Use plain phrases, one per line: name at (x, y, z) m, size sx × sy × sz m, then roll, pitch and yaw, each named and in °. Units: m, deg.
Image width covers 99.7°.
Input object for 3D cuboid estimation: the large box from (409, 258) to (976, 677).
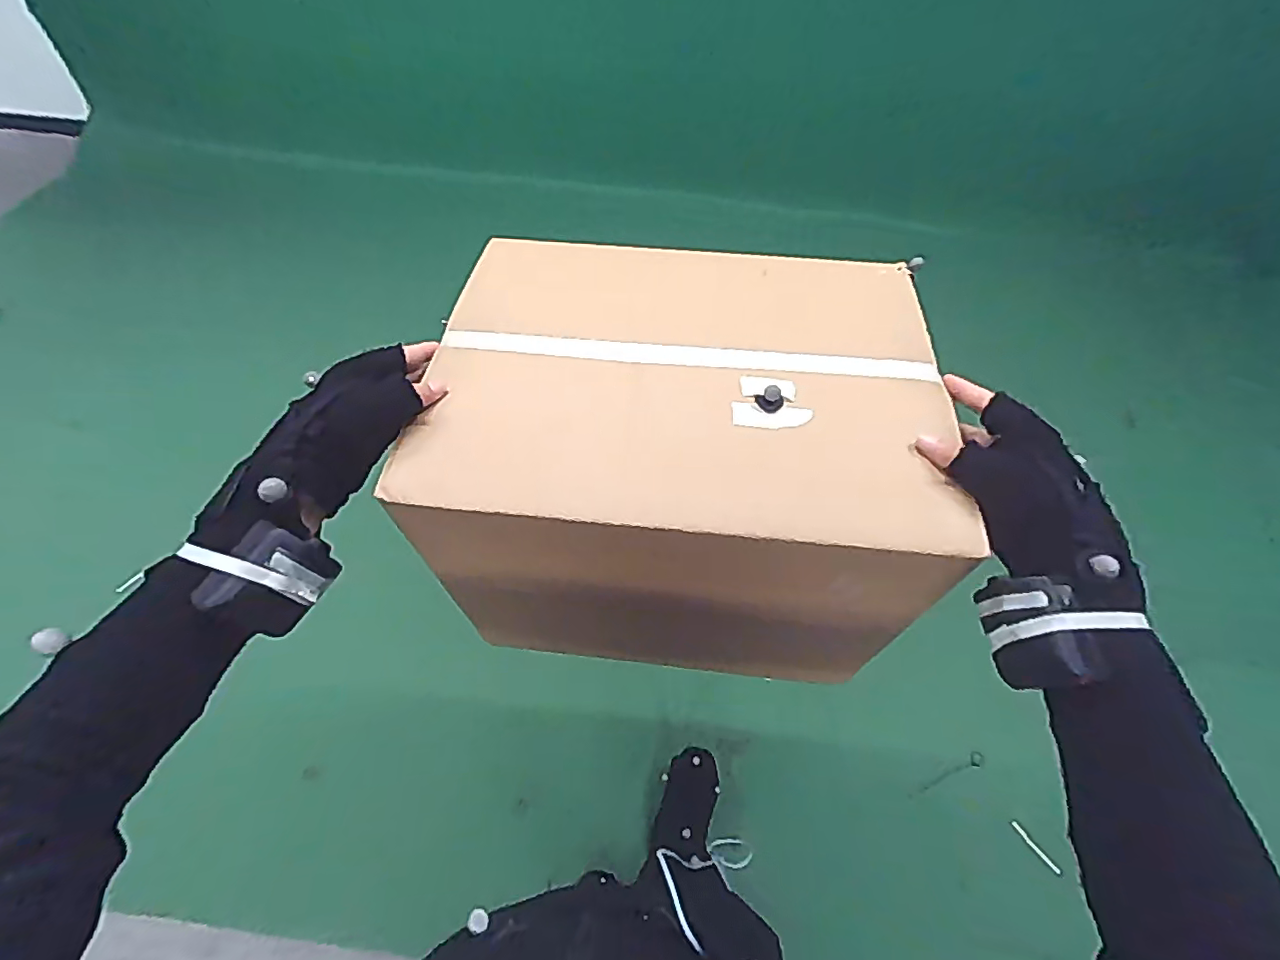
large box at (0.042, -0.002, 0.578) m, size 0.408 × 0.320 × 0.320 m, roll 5°, pitch 56°, yaw 3°
